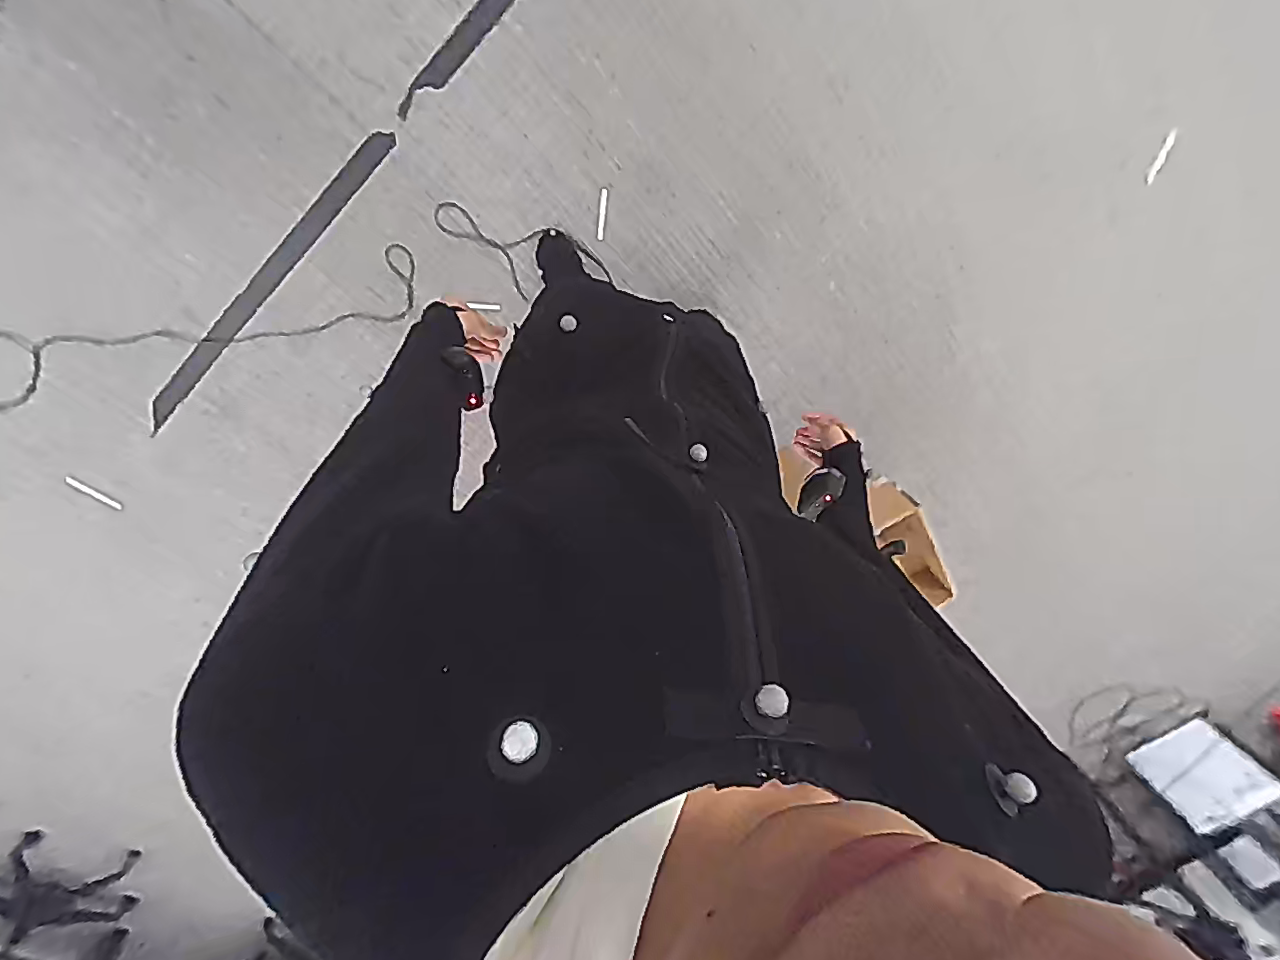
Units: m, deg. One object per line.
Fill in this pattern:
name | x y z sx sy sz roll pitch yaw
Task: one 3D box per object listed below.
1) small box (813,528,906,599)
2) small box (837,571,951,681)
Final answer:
small box | 0.591 0.251 1.450 0.168 0.176 0.179 -30 122 9
small box | 0.612 0.347 1.320 0.168 0.176 0.179 -33 122 11
